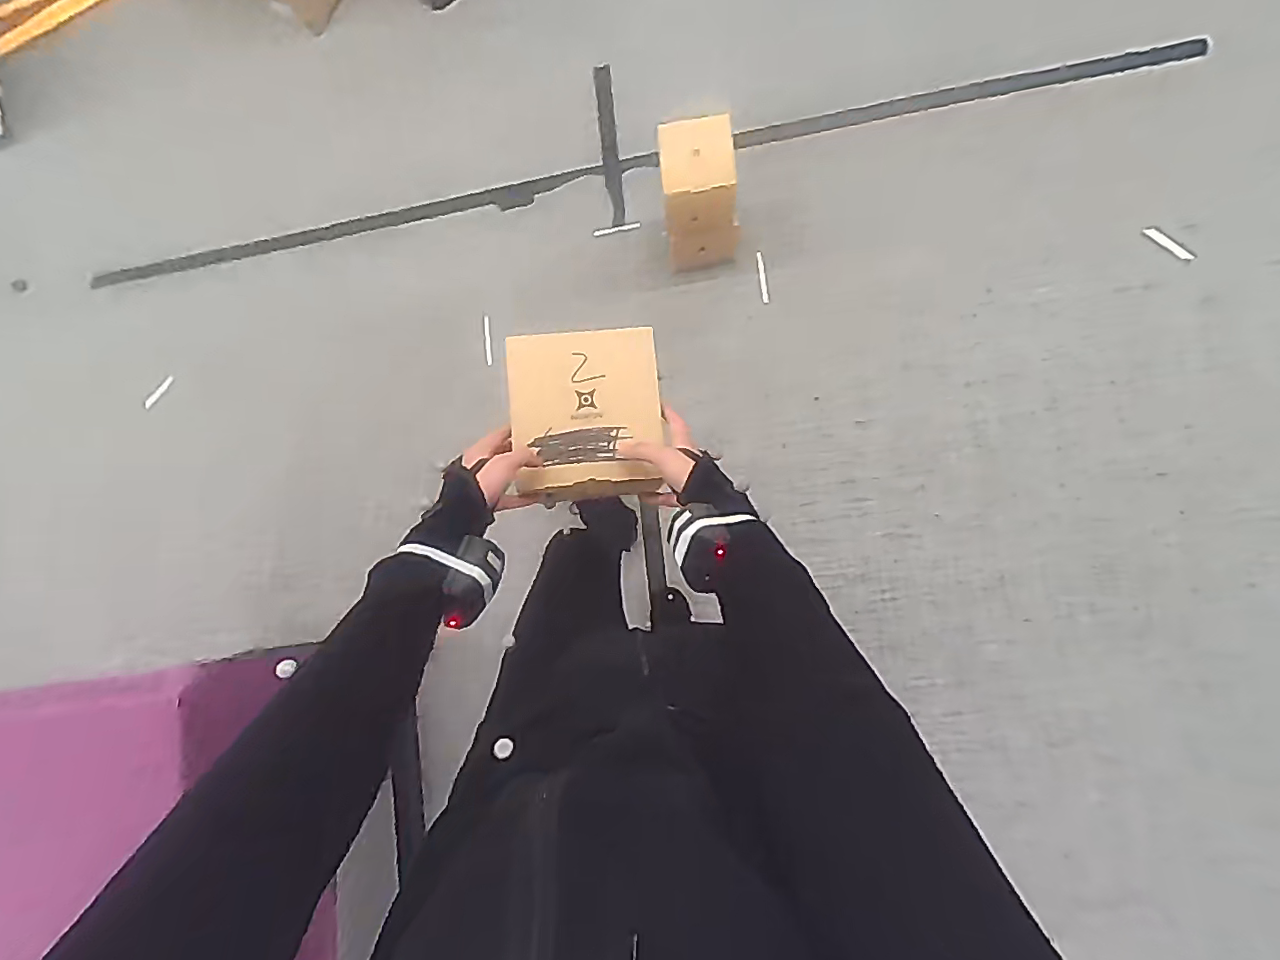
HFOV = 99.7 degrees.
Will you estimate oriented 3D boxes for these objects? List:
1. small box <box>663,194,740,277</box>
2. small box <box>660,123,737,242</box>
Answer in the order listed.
[{"bbox_3d":[0.164,-0.675,1.454,0.179,0.176,0.168,-10,82,7],"label":"small box"},{"bbox_3d":[0.138,-0.705,1.296,0.168,0.176,0.179,-6,83,6],"label":"small box"}]
